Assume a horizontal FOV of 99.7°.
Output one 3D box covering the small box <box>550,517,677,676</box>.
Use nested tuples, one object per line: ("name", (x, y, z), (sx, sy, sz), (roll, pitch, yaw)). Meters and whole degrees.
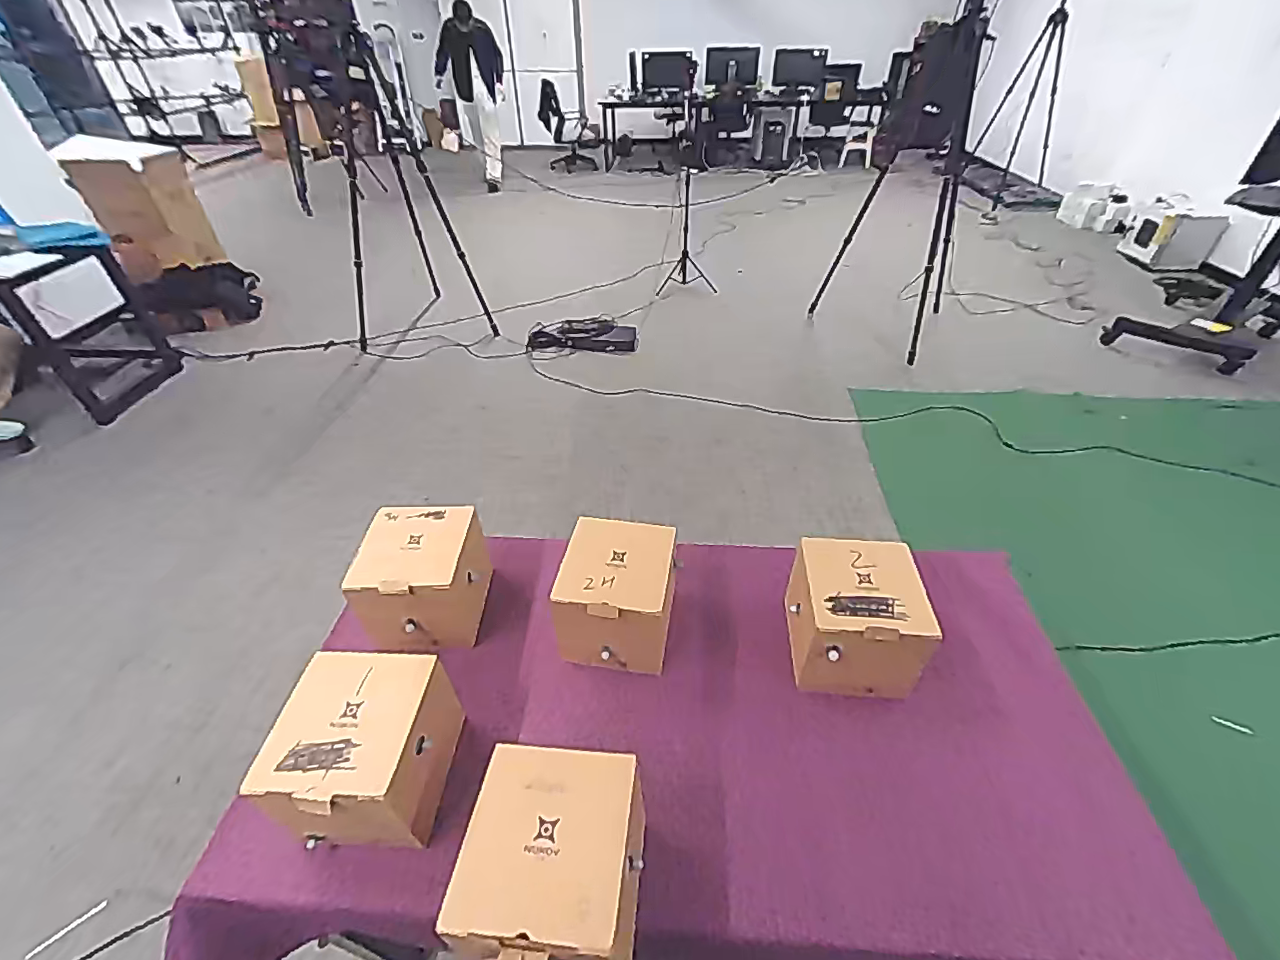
("small box", (-0.035, 0.188, 0.879), (0.168, 0.176, 0.179), (6, 41, 9))

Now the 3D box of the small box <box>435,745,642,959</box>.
("small box", (-0.090, 0.425, 0.591), (0.168, 0.176, 0.179), (3, 37, 8))

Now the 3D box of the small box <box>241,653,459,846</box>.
("small box", (-0.350, 0.348, 0.699), (0.168, 0.176, 0.179), (1, 39, 2))

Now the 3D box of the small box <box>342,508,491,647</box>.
("small box", (-0.360, 0.167, 0.912), (0.168, 0.176, 0.179), (-1, 41, 0))
